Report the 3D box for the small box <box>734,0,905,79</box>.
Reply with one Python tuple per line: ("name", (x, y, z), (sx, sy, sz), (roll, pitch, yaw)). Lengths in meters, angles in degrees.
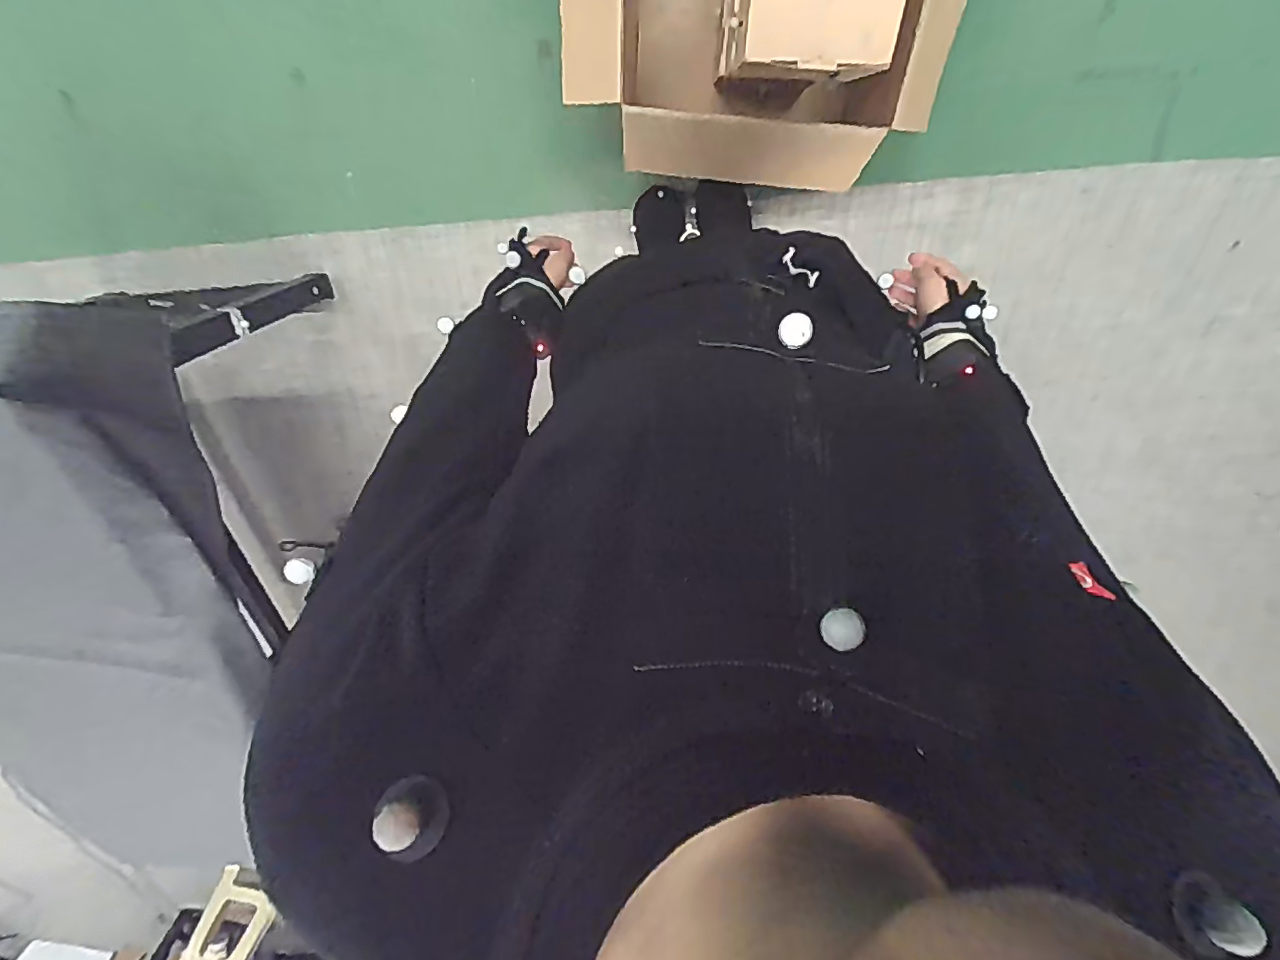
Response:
("small box", (0.205, -0.578, 0.623), (0.168, 0.176, 0.179), (3, 122, 1))
